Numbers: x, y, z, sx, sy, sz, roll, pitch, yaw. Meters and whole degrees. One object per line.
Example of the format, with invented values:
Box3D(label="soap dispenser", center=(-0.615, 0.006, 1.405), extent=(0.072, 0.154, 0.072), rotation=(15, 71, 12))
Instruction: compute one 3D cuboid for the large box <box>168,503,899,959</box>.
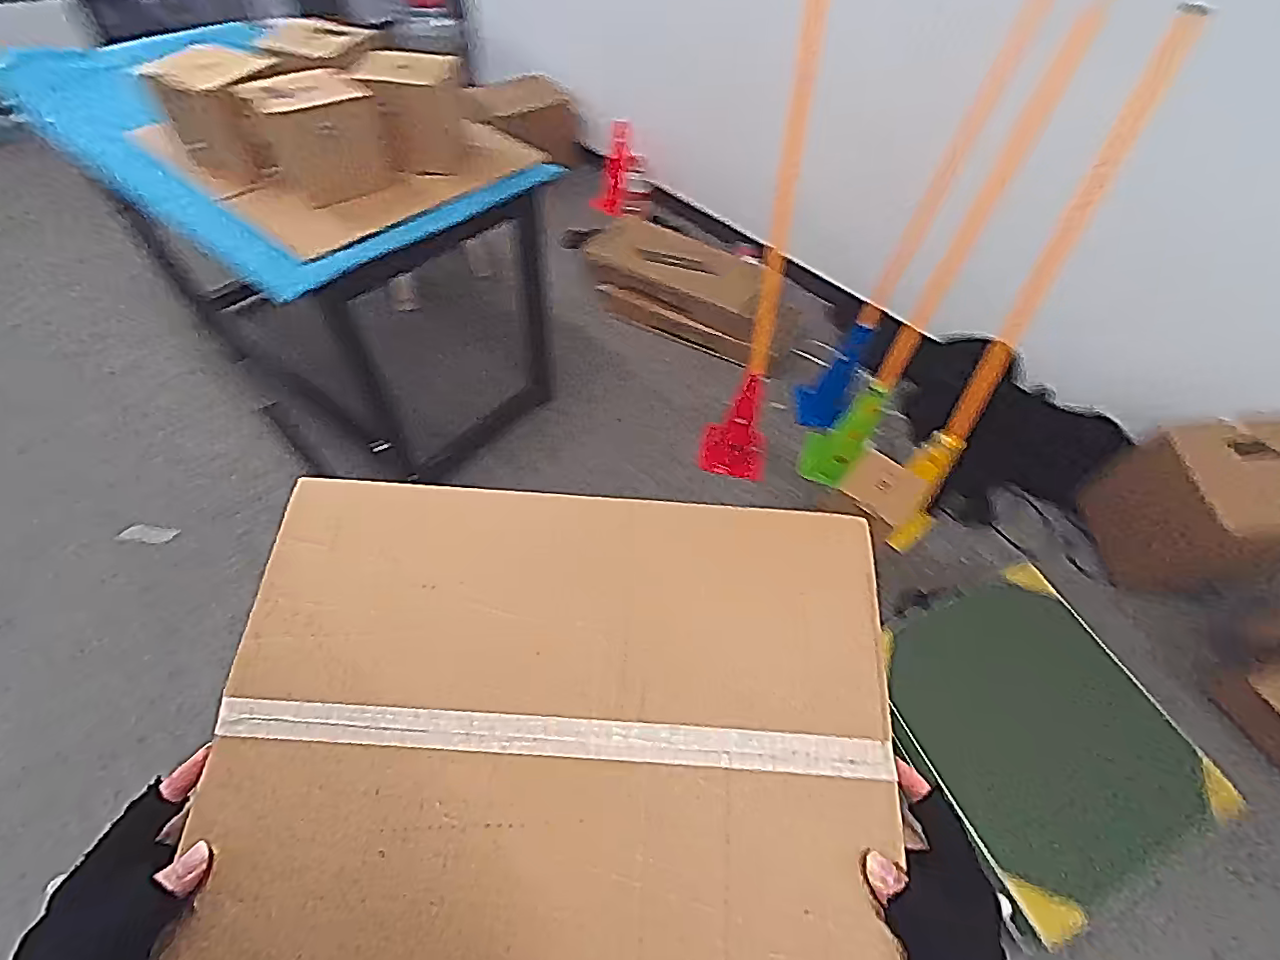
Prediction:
Box3D(label="large box", center=(-0.057, 0.222, 0.471), extent=(0.408, 0.320, 0.320), rotation=(3, 68, 0))
